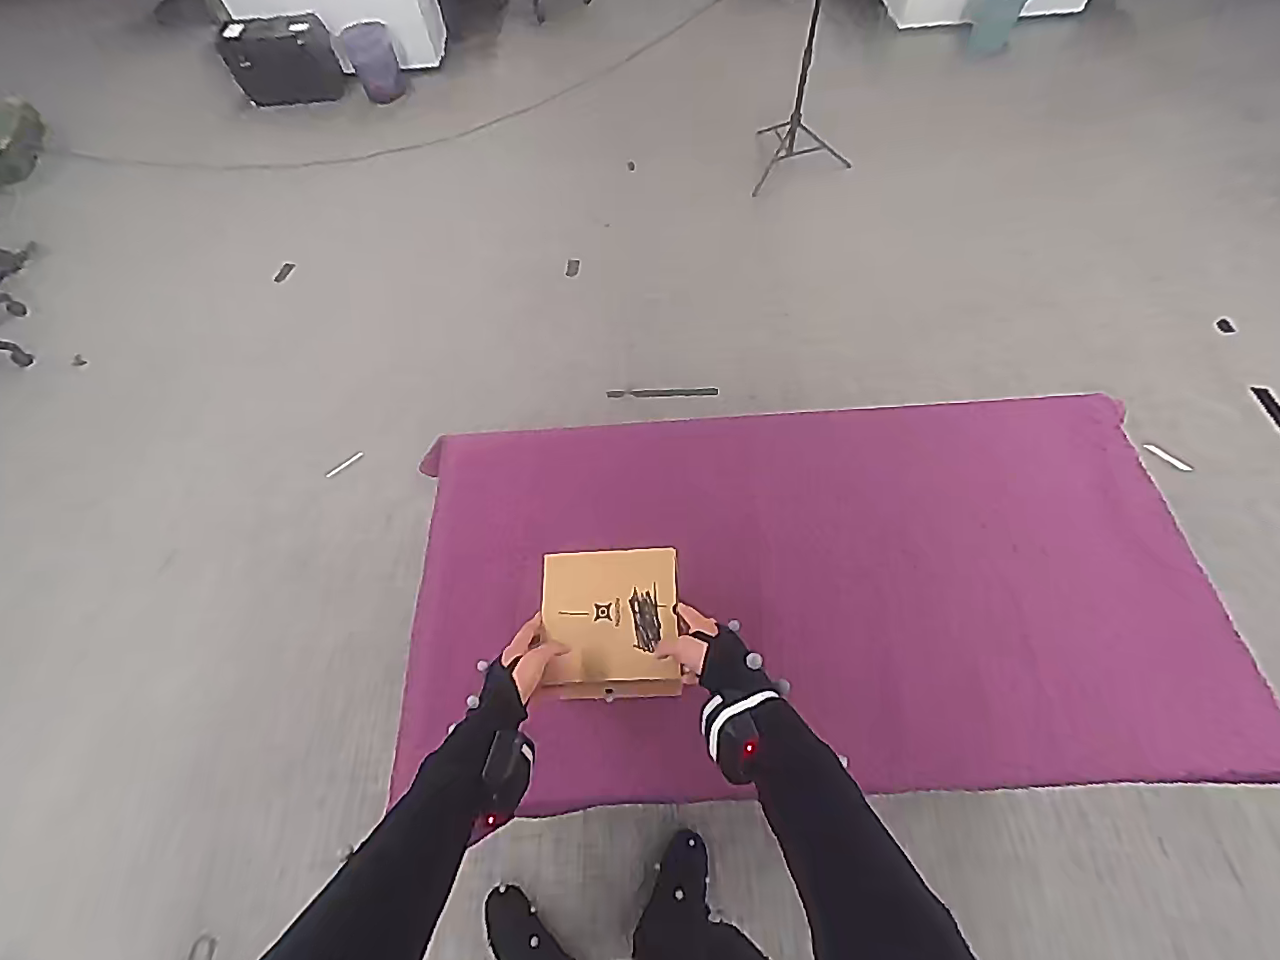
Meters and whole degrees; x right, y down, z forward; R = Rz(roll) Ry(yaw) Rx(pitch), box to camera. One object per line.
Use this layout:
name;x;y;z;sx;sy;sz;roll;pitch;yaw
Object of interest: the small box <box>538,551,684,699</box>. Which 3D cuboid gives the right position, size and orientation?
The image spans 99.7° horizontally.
small box;-0.032;0.205;0.749;0.179;0.176;0.168;-3;61;3
